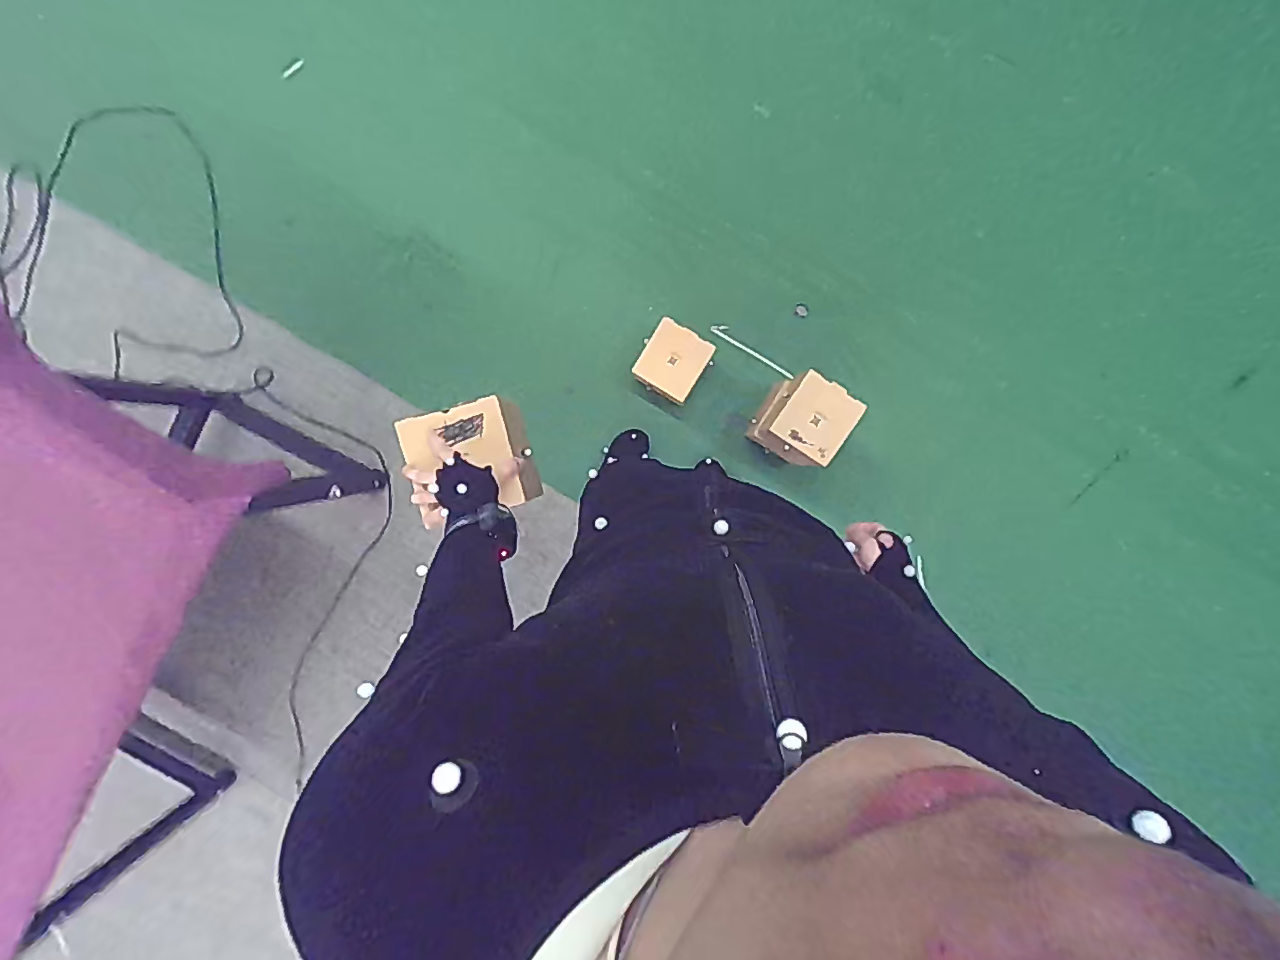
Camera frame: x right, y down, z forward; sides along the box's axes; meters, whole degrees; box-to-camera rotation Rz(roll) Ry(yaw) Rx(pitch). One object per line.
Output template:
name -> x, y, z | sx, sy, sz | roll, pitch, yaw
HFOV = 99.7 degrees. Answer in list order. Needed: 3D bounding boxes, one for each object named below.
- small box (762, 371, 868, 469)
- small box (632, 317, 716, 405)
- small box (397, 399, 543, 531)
small box -> 0.425, -0.146, 1.350 | 0.168, 0.176, 0.179 | 35, 95, 0
small box -> 0.097, -0.325, 1.521 | 0.168, 0.176, 0.179 | 32, 94, 1
small box -> -0.275, -0.025, 0.912 | 0.168, 0.176, 0.179 | -15, 93, 1
